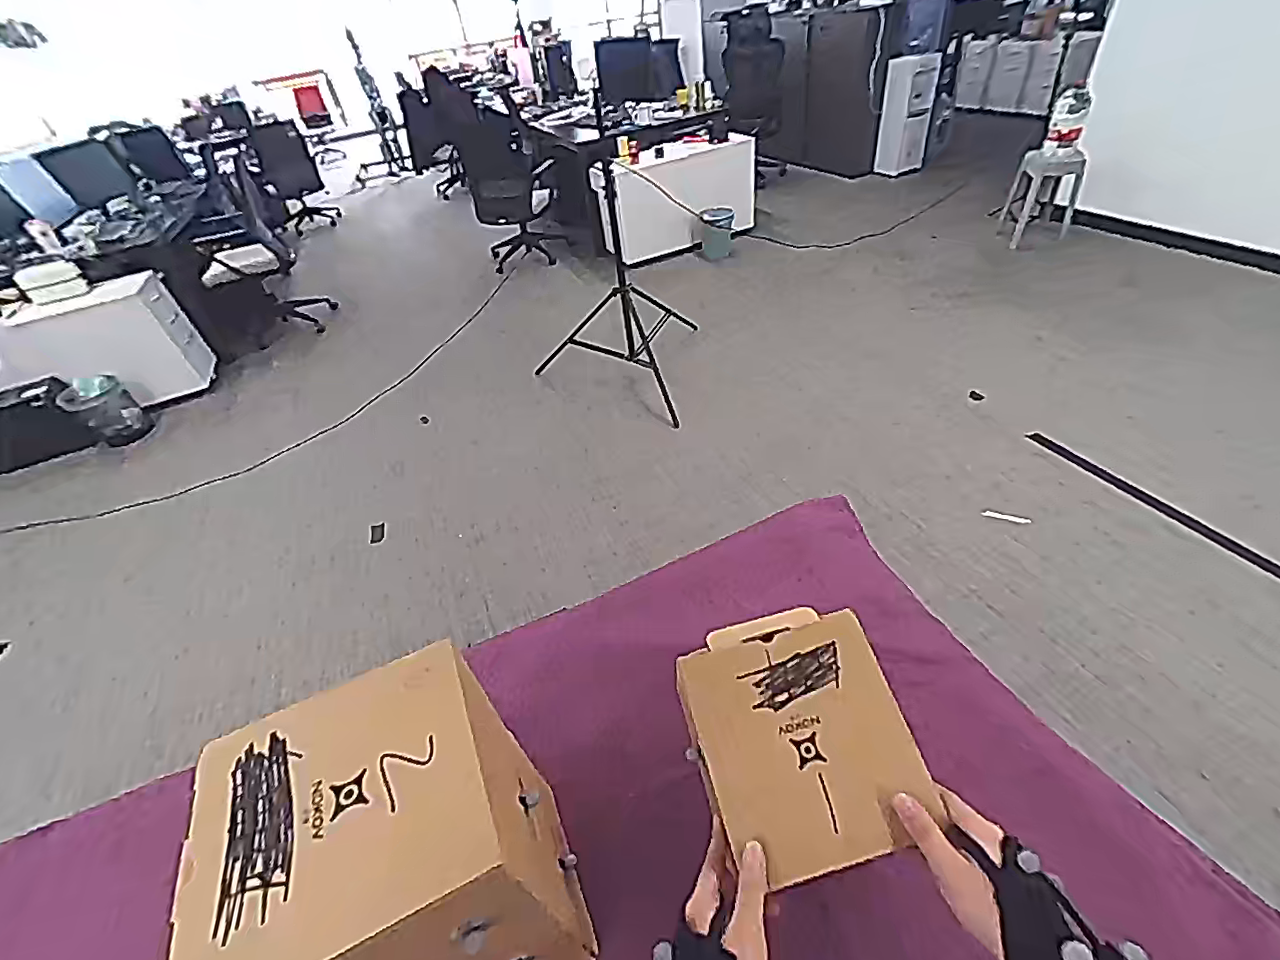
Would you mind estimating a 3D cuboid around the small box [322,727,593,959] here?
[{"bbox_3d":[-0.160,0.373,0.496,0.179,0.176,0.168,-21,43,-14],"label":"small box"}]

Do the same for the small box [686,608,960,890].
[{"bbox_3d":[0.142,0.242,0.501,0.168,0.176,0.179,-14,62,-3],"label":"small box"}]
